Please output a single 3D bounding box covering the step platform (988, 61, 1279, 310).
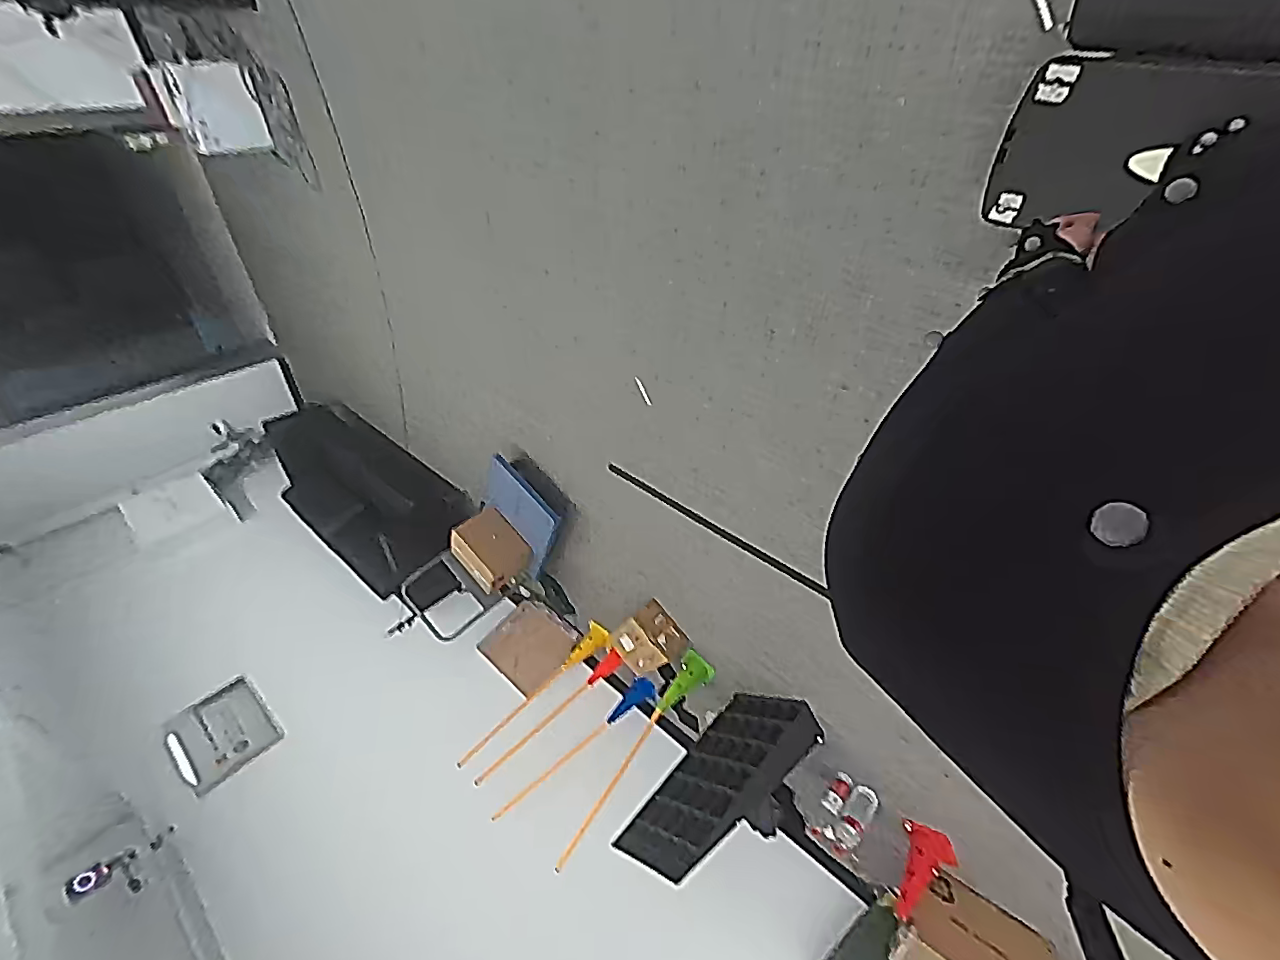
[{"bbox_3d":[1.011,-0.503,0.935,0.684,0.204,0.286,35,138,28],"label":"step platform"}]
